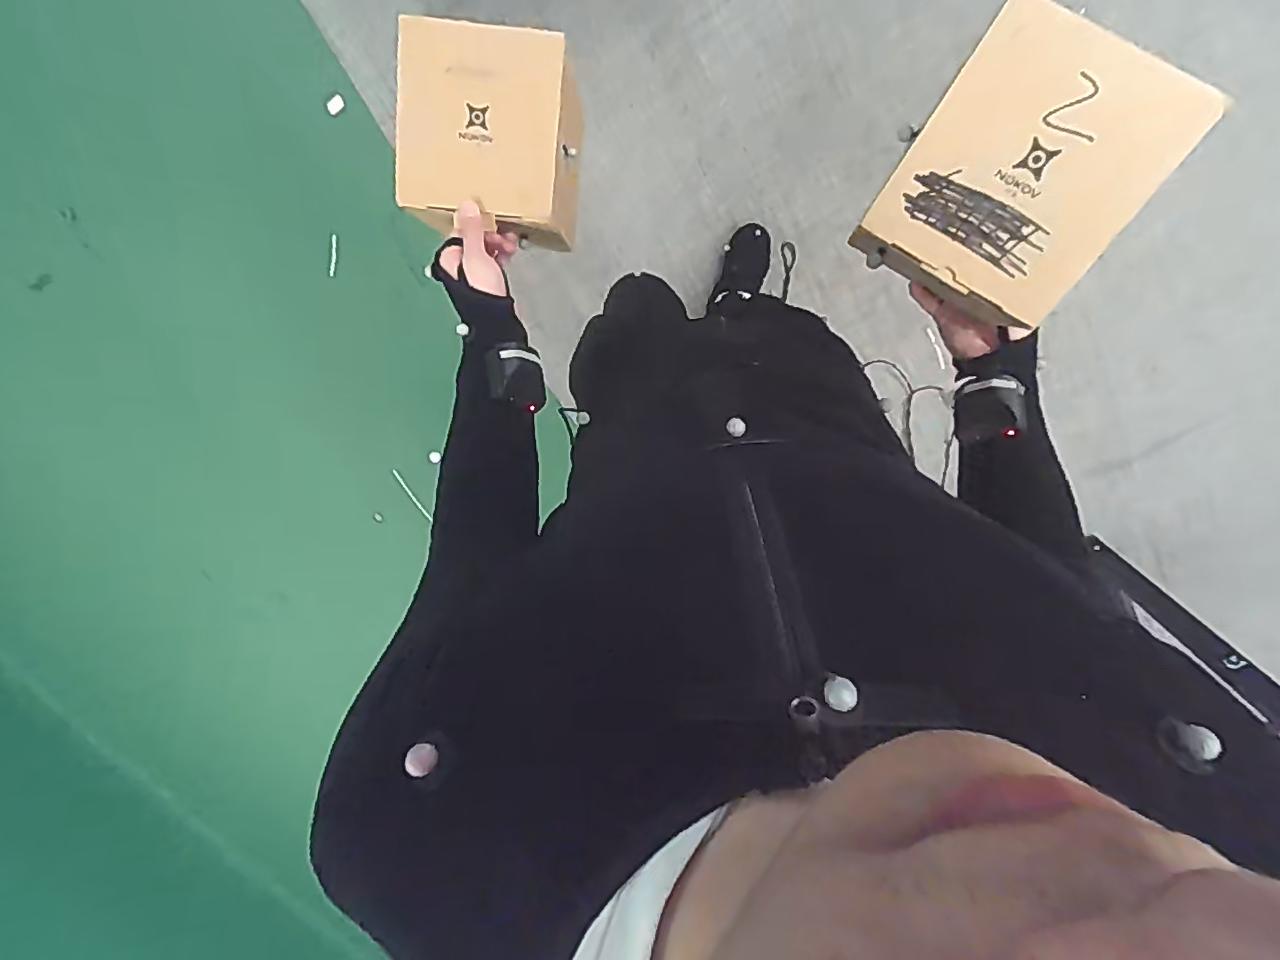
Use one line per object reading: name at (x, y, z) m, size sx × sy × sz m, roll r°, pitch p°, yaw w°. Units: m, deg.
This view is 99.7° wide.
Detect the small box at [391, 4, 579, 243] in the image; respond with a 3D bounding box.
small box at (-0.166, -0.386, 0.622) m, size 0.168 × 0.176 × 0.179 m, roll 7°, pitch 102°, yaw -1°
